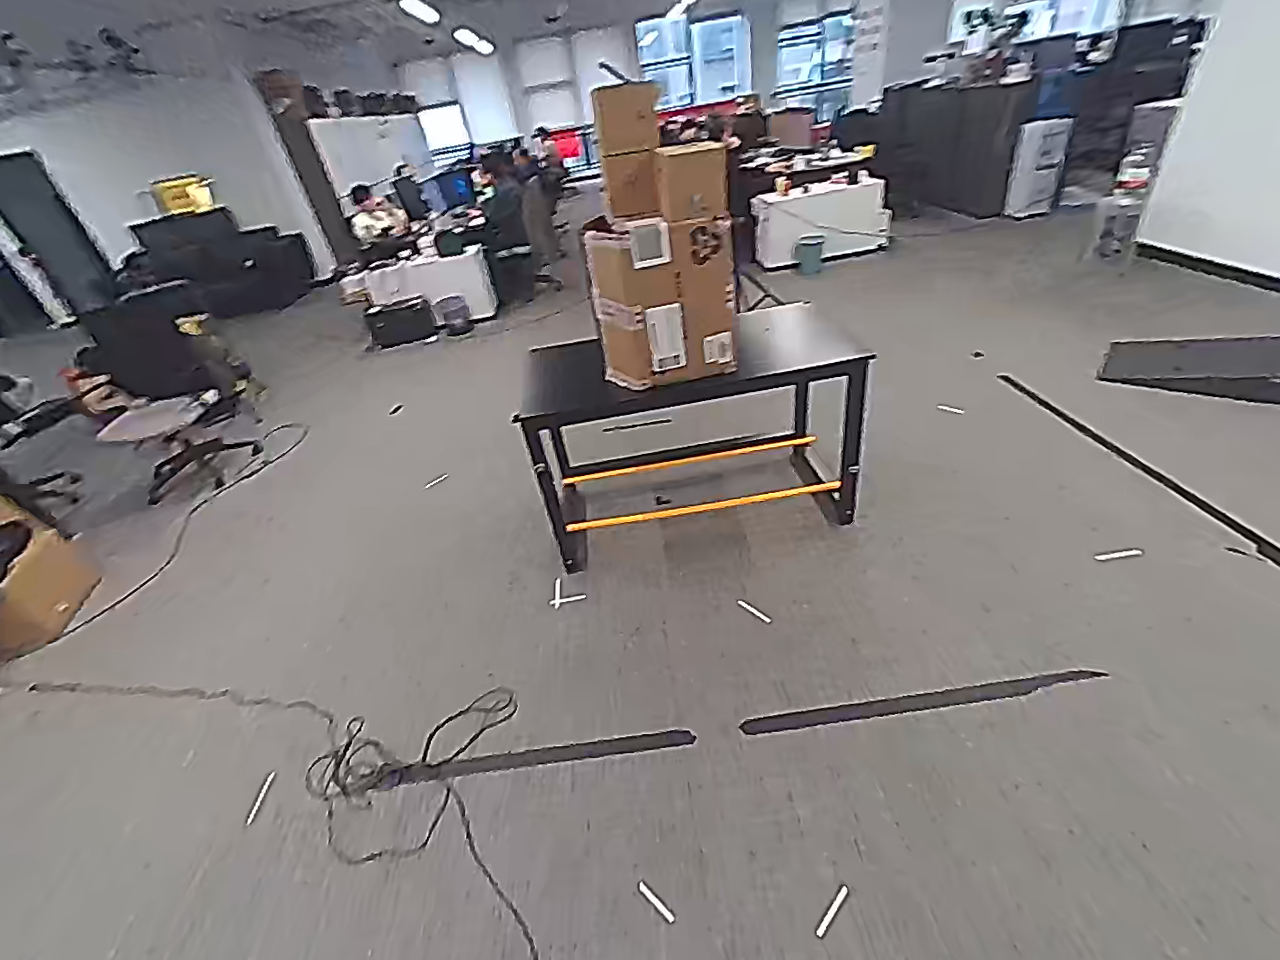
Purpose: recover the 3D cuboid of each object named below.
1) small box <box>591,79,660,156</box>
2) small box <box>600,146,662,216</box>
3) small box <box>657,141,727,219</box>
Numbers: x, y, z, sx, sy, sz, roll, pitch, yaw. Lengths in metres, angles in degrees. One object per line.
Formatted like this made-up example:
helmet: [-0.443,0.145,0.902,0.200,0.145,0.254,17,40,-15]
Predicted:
small box: [-0.042,-1.077,1.614,0.179,0.176,0.168,-12,32,-5]
small box: [-0.022,-0.943,1.707,0.179,0.176,0.168,-11,33,-3]
small box: [0.148,-0.863,1.556,0.168,0.176,0.179,-11,36,-3]
